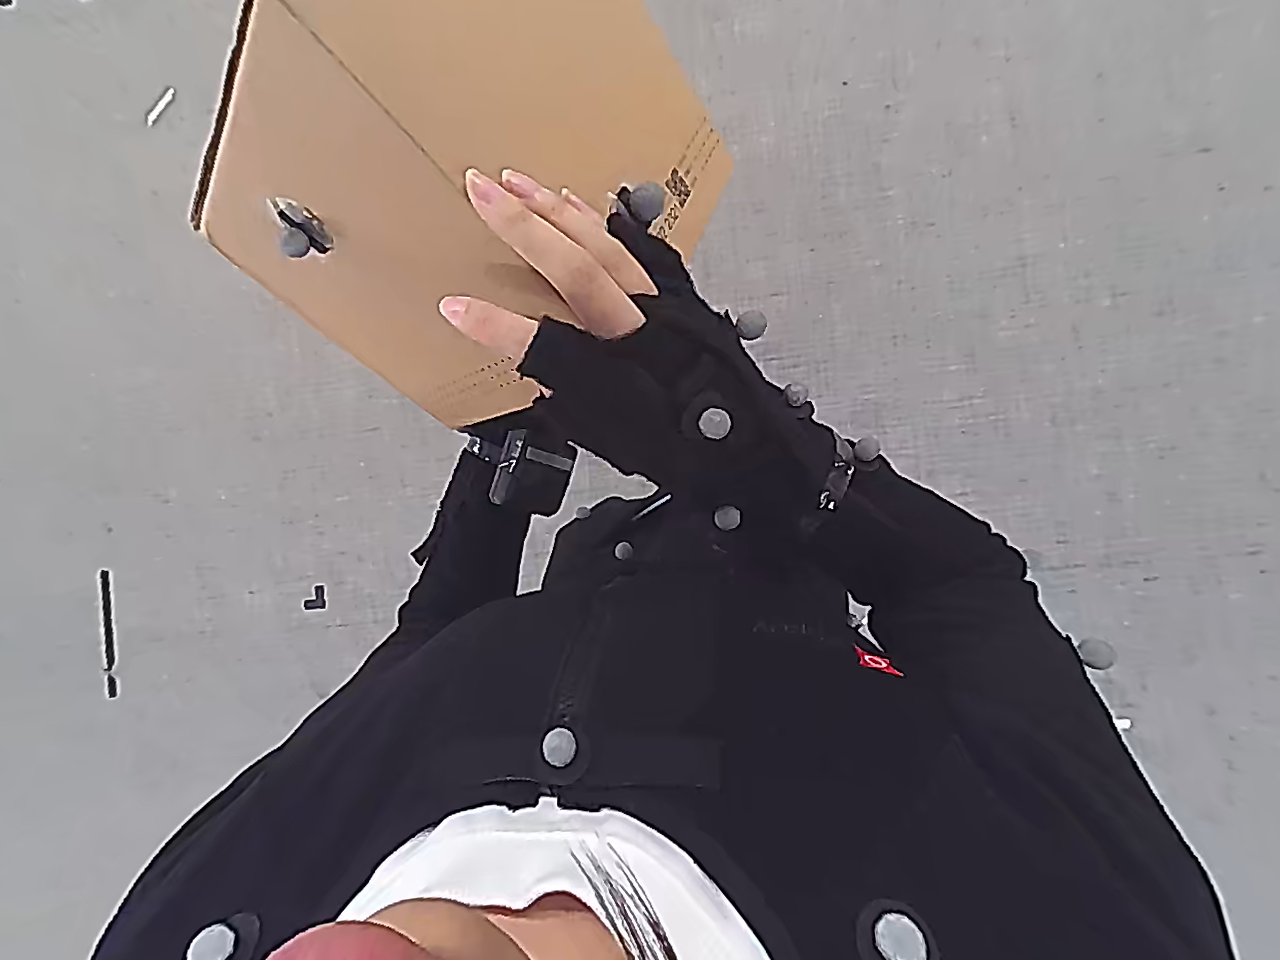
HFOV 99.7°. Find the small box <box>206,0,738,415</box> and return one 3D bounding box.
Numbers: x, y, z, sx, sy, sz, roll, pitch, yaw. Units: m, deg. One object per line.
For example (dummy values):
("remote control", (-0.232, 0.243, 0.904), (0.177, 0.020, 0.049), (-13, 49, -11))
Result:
("small box", (-0.079, -0.152, 0.290), (0.179, 0.176, 0.168), (-5, 53, 45))
